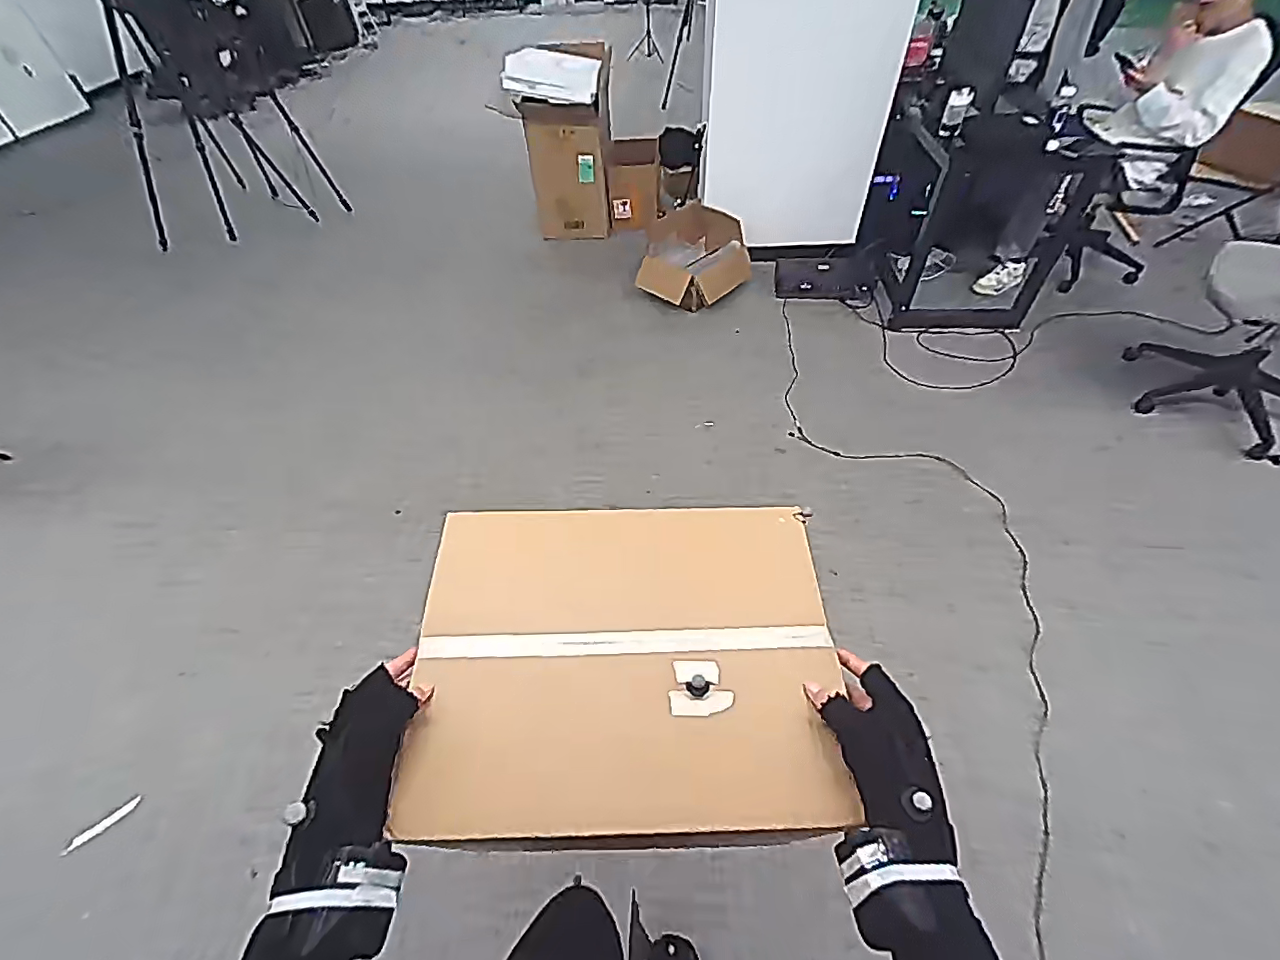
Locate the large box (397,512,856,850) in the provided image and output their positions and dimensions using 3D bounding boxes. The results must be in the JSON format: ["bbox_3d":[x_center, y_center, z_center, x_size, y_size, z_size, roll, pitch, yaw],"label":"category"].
[{"bbox_3d":[-0.017,0.254,0.666,0.408,0.320,0.320,-1,54,-1],"label":"large box"}]
